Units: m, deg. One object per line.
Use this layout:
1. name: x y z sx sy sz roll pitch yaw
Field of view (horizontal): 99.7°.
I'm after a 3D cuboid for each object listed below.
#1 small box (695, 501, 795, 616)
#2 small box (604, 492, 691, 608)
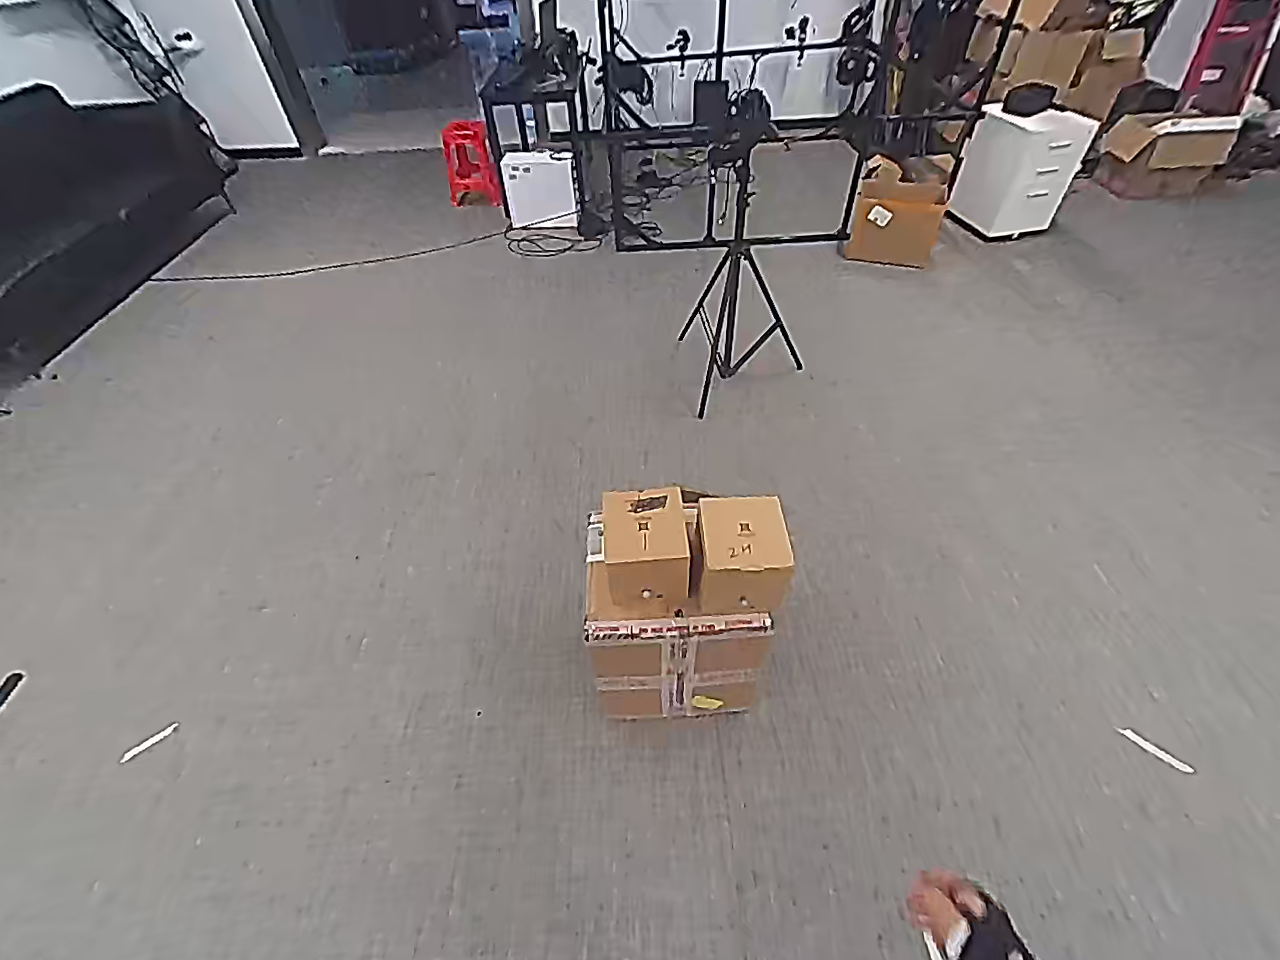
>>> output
1. small box: 0.206 0.162 1.115 0.168 0.176 0.179 -2 48 0
2. small box: 0.014 0.148 1.135 0.168 0.176 0.179 -5 50 0
